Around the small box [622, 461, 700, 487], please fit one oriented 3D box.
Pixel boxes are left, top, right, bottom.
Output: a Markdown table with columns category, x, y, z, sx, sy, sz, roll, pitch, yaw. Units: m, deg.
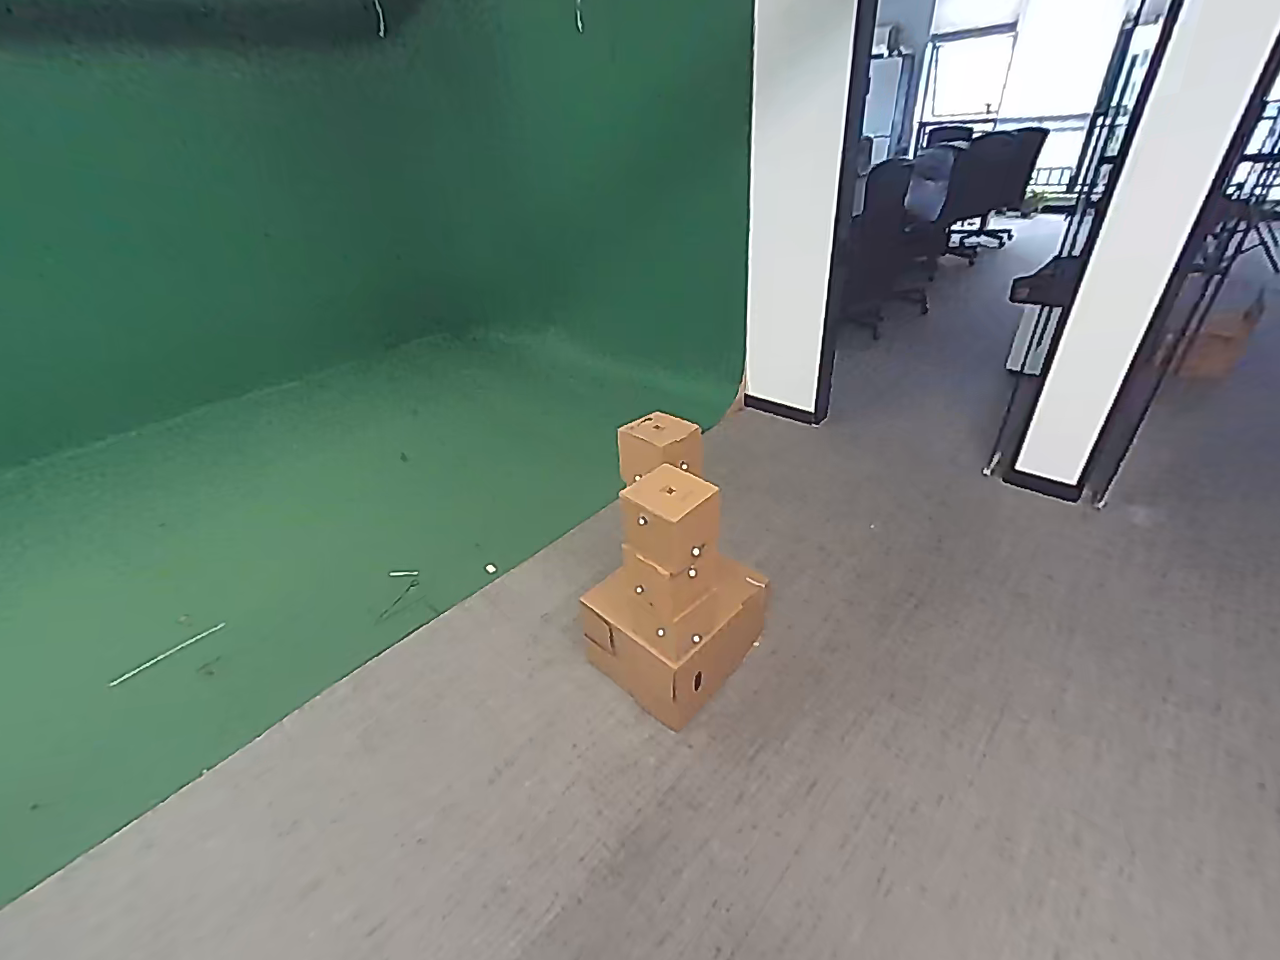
| category | x | y | z | sx | sy | sz | roll | pitch | yaw |
| --- | --- | --- | --- | --- | --- | --- | --- | --- | --- |
| small box | 0.063 | 0.071 | 1.649 | 0.179 | 0.176 | 0.168 | -28 | 39 | -35 |

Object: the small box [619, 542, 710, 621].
| category | x | y | z | sx | sy | sz | roll | pitch | yaw |
| --- | --- | --- | --- | --- | --- | --- | --- | --- | --- |
| small box | 0.062 | 0.227 | 1.407 | 0.179 | 0.176 | 0.168 | -29 | 42 | -32 |

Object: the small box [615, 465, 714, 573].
| category | x | y | z | sx | sy | sz | roll | pitch | yaw |
| --- | --- | --- | --- | --- | --- | --- | --- | --- | --- |
| small box | 0.060 | 0.095 | 1.313 | 0.179 | 0.176 | 0.168 | 27 | 46 | 36 |
